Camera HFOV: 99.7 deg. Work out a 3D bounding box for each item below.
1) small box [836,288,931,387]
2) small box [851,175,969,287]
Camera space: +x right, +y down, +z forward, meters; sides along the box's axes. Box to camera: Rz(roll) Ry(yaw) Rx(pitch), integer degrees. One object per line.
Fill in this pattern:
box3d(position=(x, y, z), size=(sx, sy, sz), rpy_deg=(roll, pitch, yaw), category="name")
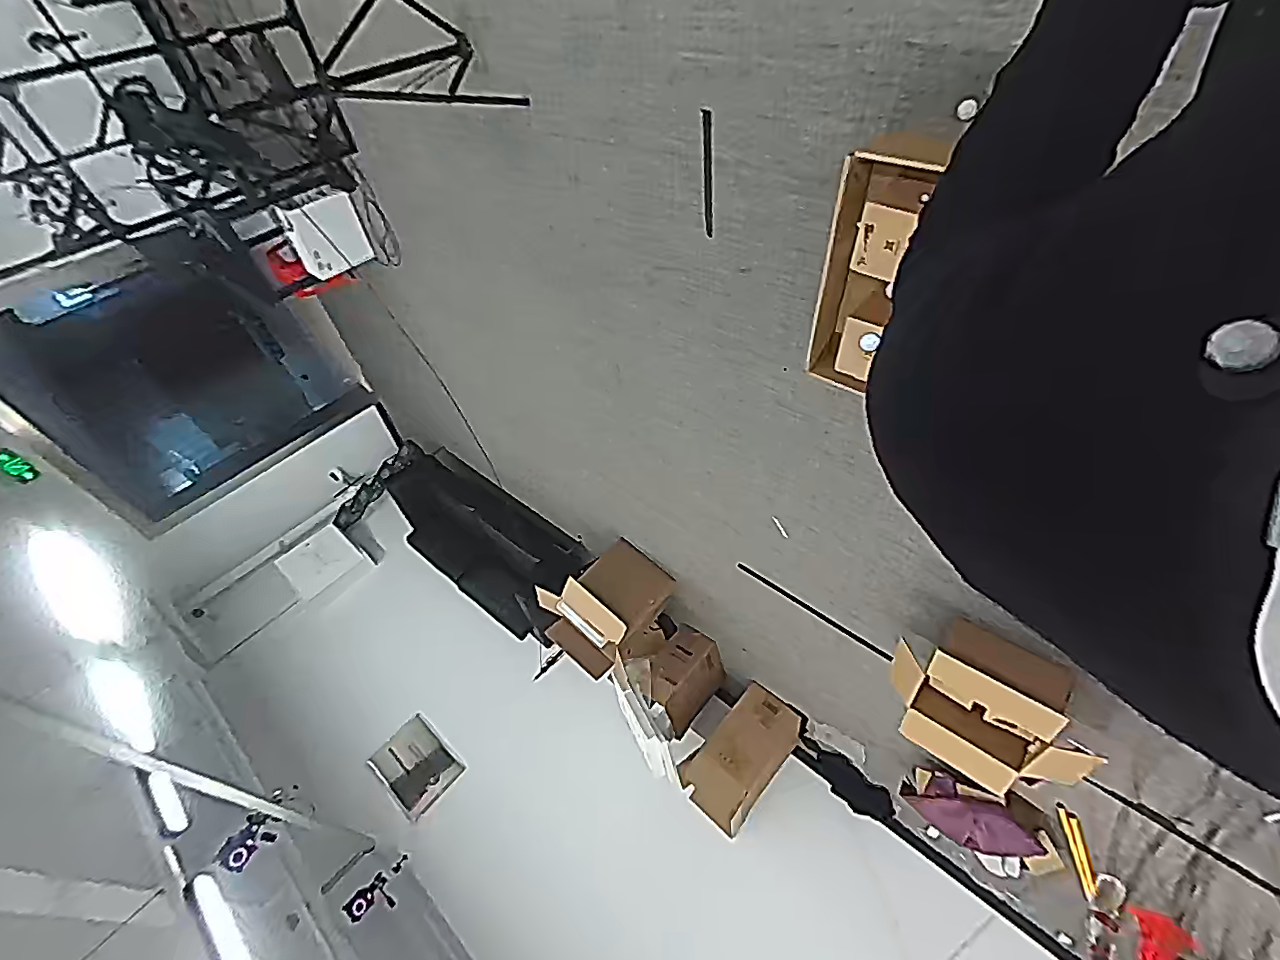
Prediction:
box3d(position=(0.665, -0.392, 1.479), size=(0.168, 0.176, 0.179), rpy_deg=(29, 146, 28), category="small box")
box3d(position=(0.633, -0.589, 1.268), size=(0.179, 0.176, 0.168), rpy_deg=(31, 149, 26), category="small box")
